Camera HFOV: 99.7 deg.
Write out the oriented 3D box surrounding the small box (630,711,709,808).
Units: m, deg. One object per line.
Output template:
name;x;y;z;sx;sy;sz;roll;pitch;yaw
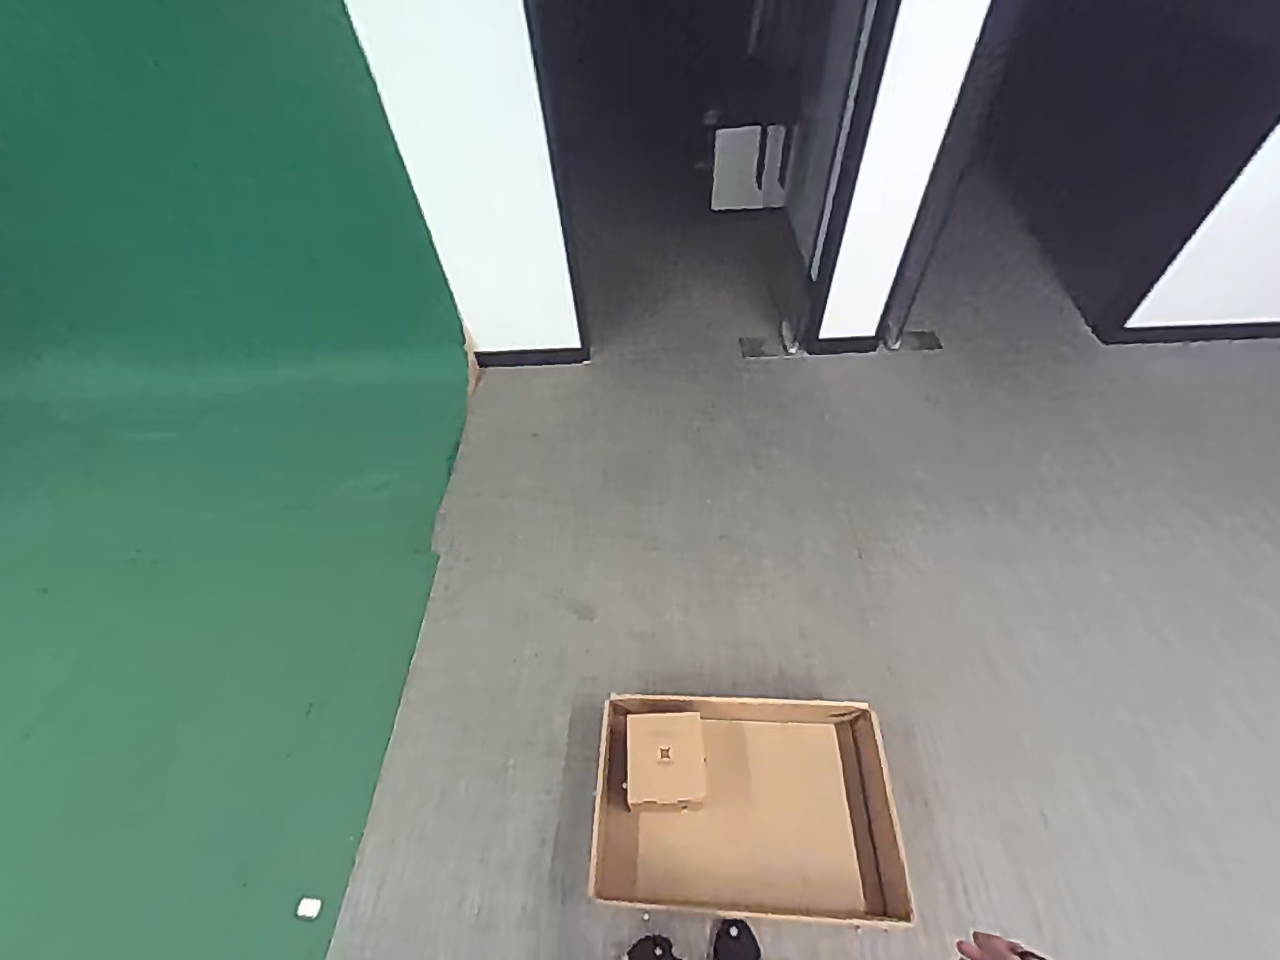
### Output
small box;0.067;0.634;1.218;0.168;0.176;0.179;-2;53;3
